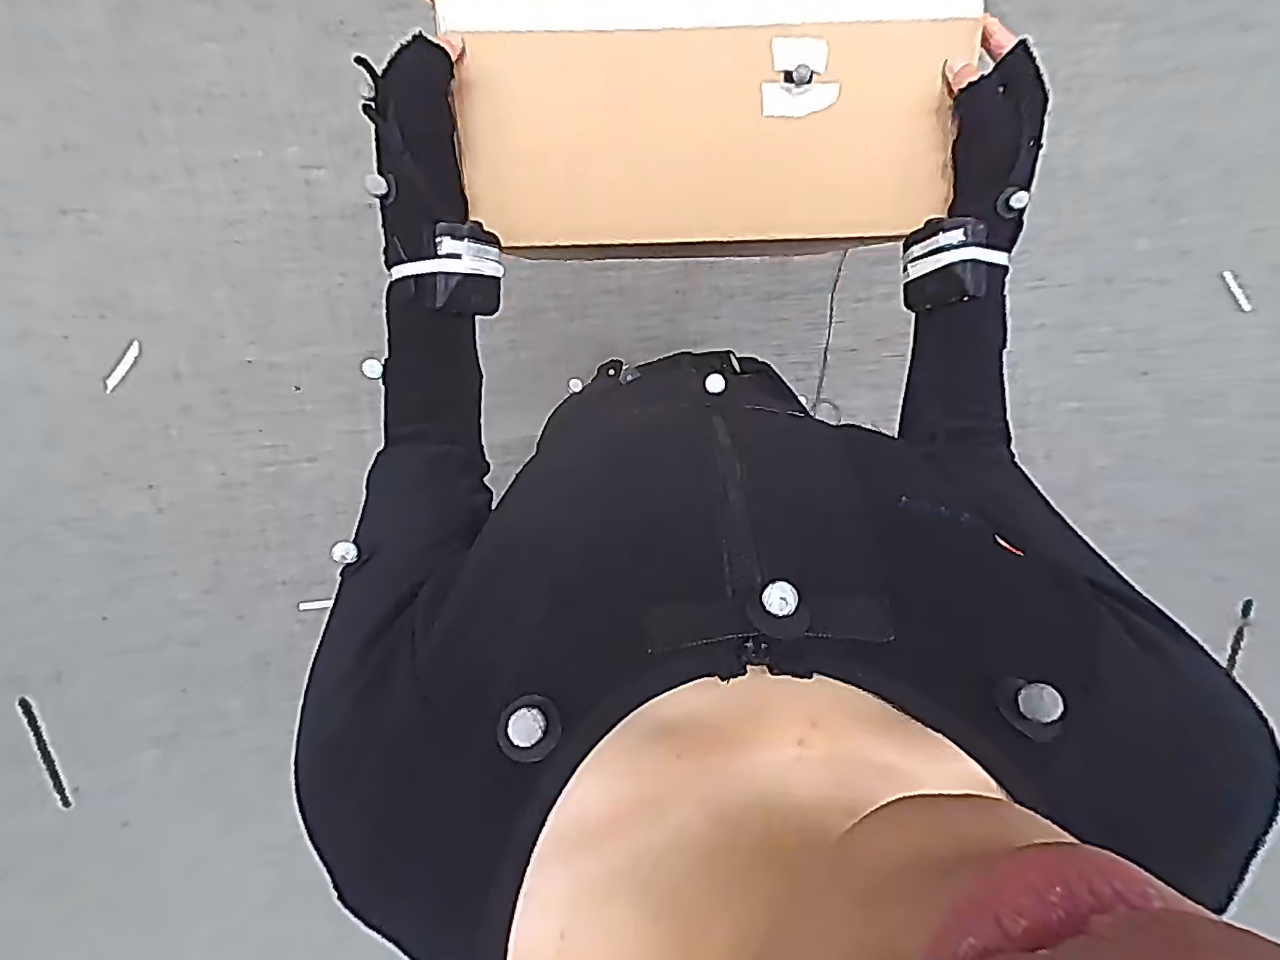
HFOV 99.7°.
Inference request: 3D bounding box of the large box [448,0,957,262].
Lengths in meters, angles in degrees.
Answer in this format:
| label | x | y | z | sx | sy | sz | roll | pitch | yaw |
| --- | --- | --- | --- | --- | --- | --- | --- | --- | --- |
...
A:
| label | x | y | z | sx | sy | sz | roll | pitch | yaw |
| --- | --- | --- | --- | --- | --- | --- | --- | --- | --- |
| large box | 0.044 | -0.408 | 0.561 | 0.408 | 0.320 | 0.320 | -3 | 111 | -1 |
